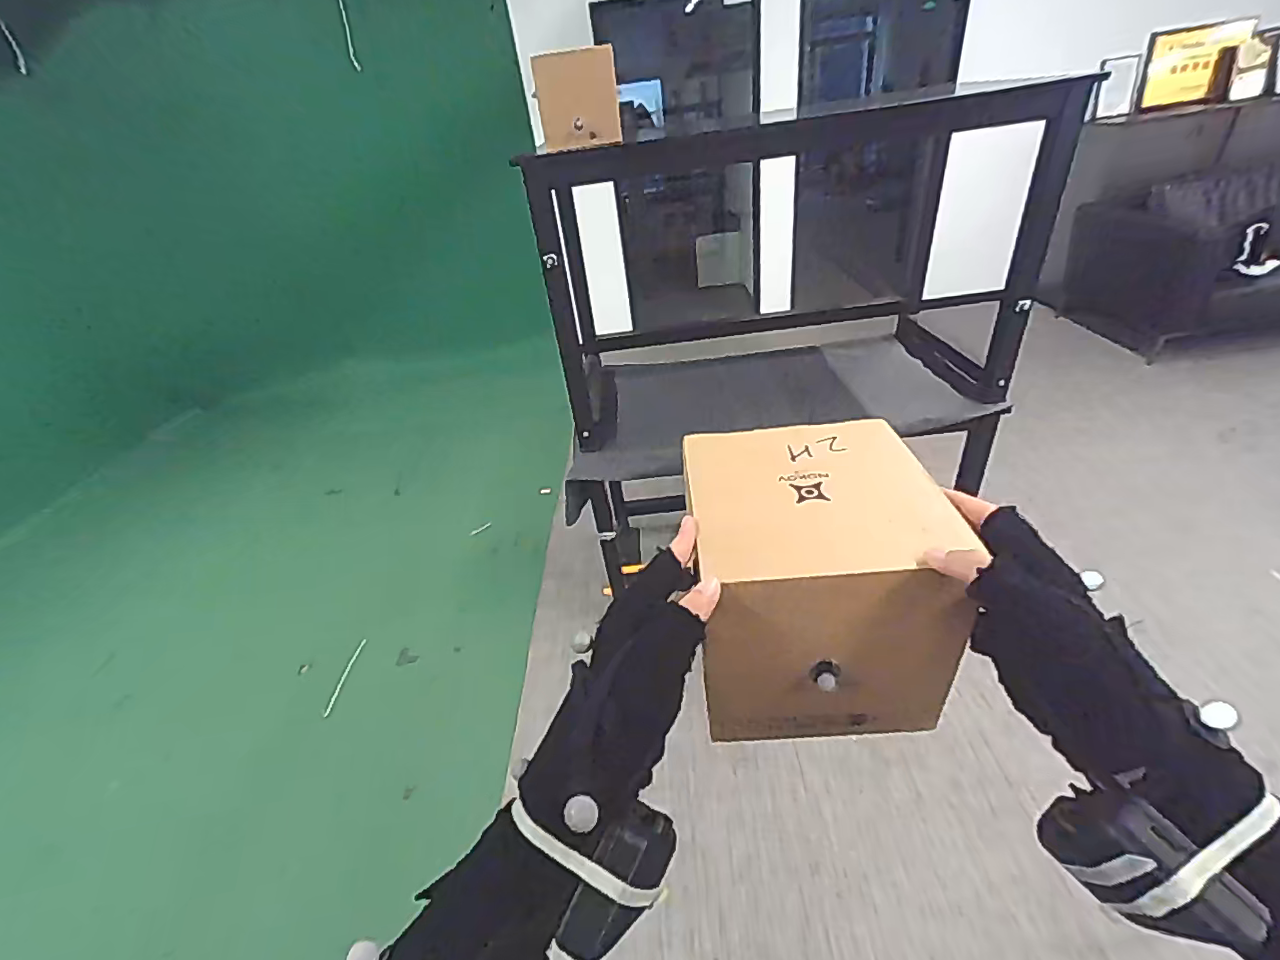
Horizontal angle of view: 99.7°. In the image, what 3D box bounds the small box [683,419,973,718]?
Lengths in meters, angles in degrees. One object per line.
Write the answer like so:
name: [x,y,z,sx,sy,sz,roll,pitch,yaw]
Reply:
small box: [0.125,0.070,0.431,0.168,0.176,0.179,-4,33,3]
